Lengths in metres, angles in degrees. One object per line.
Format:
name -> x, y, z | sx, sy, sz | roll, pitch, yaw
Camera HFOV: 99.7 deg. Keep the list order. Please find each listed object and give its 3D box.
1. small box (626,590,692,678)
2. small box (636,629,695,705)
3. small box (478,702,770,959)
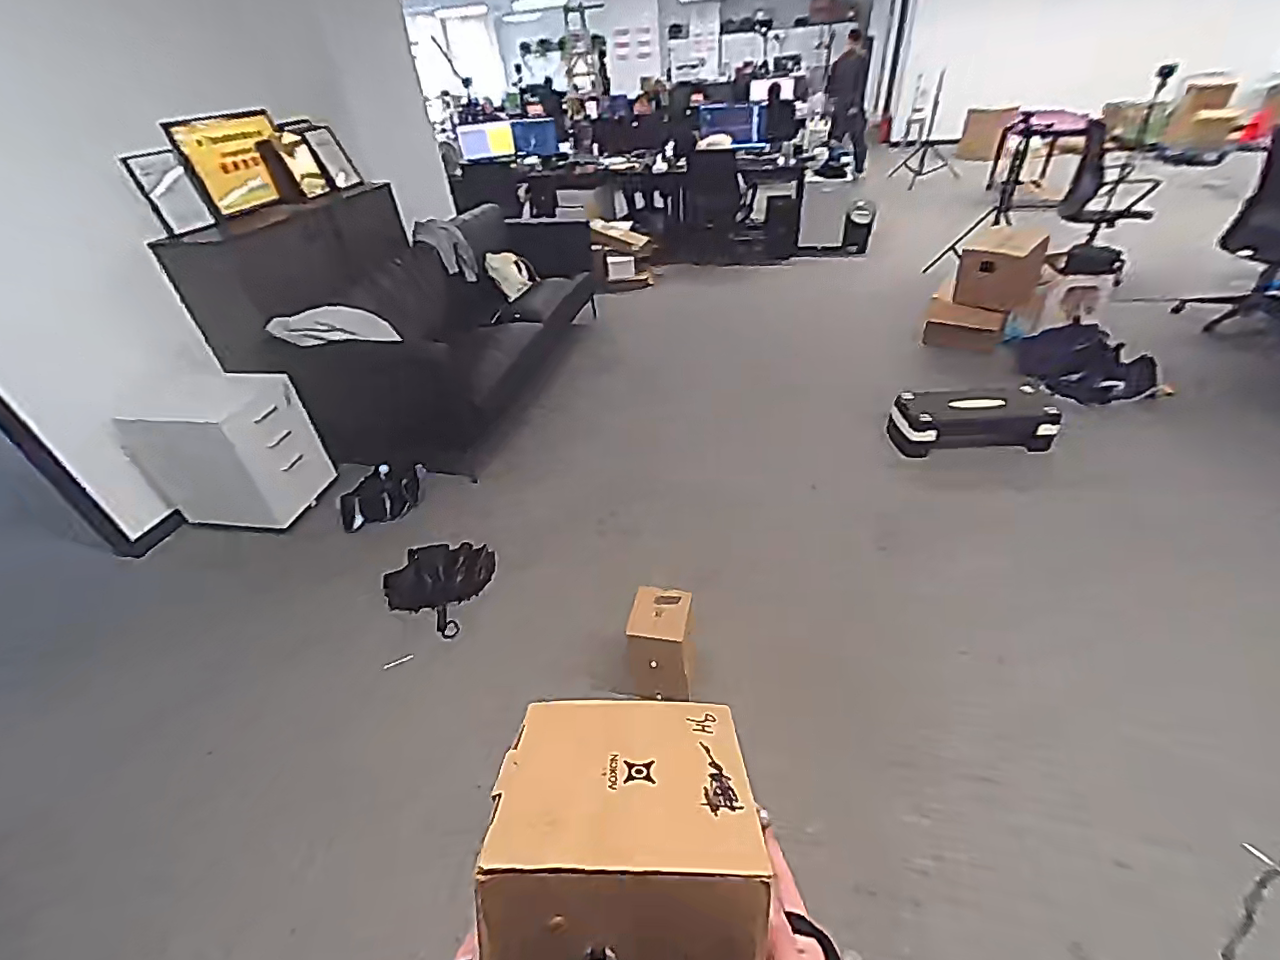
small box -> 0.062, 0.454, 1.603 | 0.168, 0.176, 0.179 | 4, 39, 13
small box -> 0.084, 0.582, 1.704 | 0.168, 0.176, 0.179 | 2, 39, 12
small box -> -0.009, 0.291, 0.405 | 0.179, 0.176, 0.168 | 2, 12, 0
